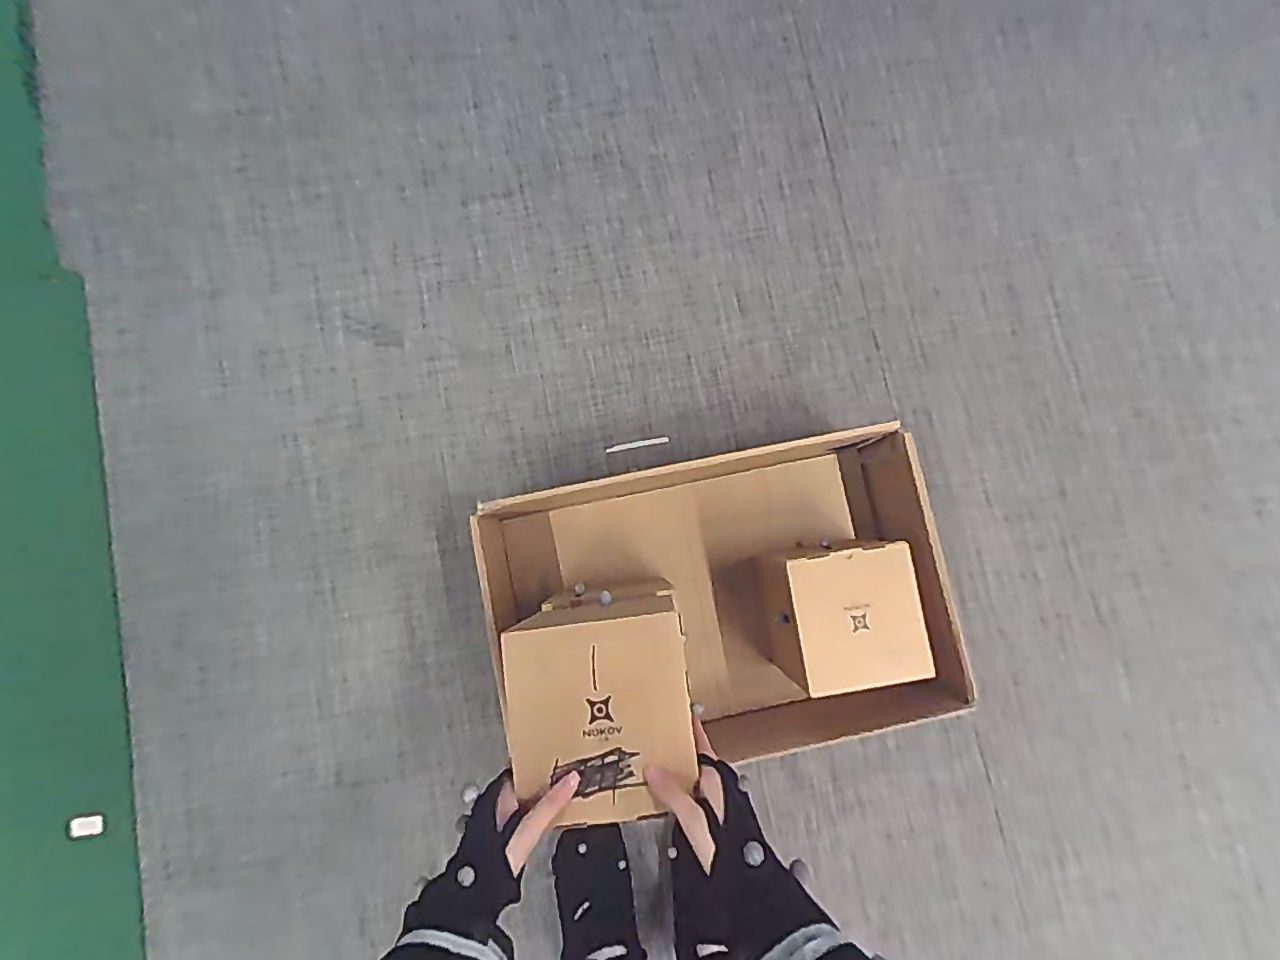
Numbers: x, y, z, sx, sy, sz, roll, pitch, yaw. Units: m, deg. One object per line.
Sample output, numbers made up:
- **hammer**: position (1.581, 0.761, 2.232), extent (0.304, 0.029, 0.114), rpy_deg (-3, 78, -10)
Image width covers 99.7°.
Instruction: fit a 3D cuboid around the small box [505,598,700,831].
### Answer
- **small box**: position (-0.032, 0.227, 0.568), extent (0.168, 0.176, 0.179), rpy_deg (-8, 82, 1)
